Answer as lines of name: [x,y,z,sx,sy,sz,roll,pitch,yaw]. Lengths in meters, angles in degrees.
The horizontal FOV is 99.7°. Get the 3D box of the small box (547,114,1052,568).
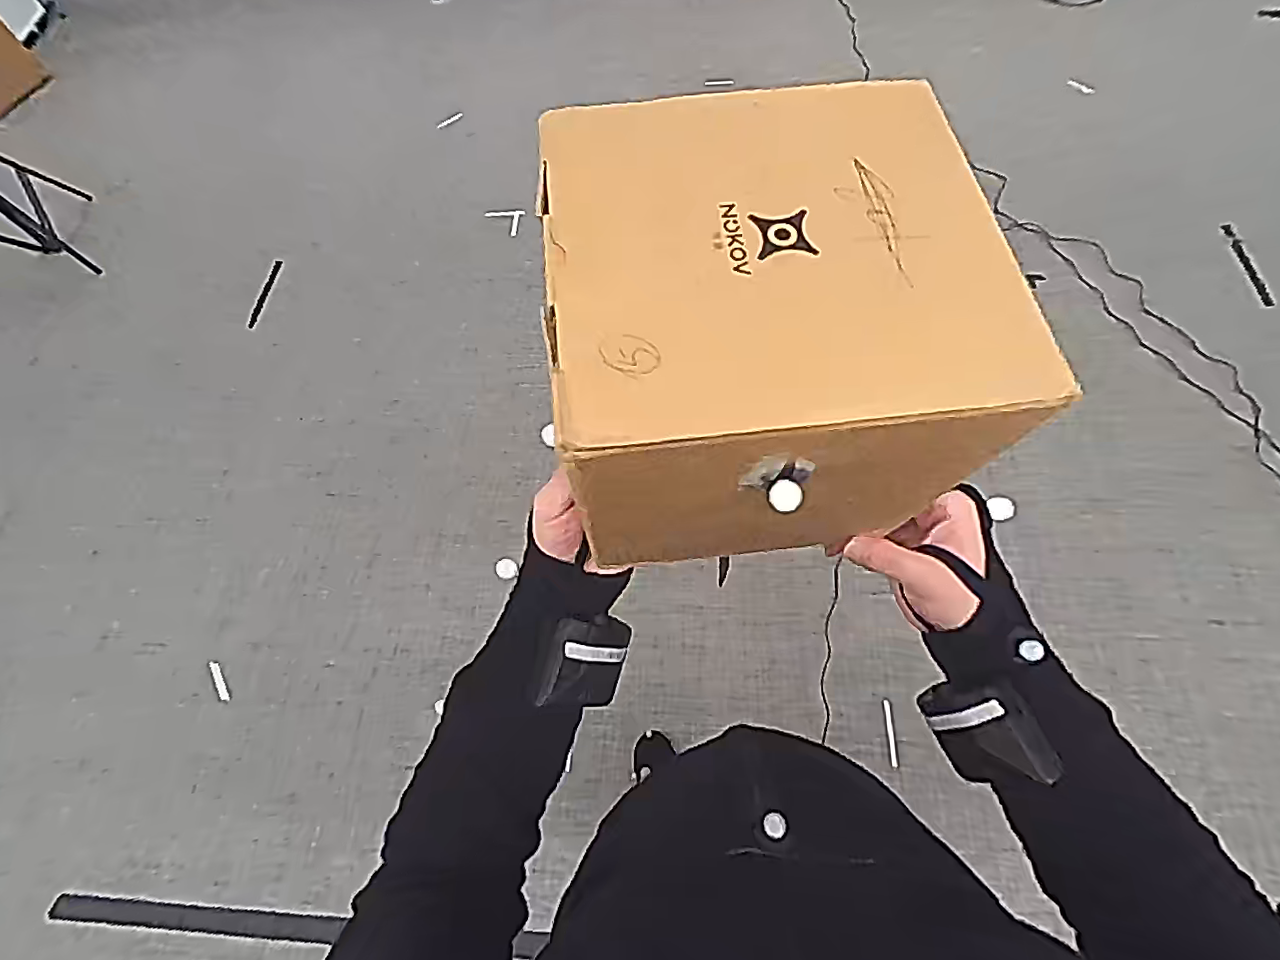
small box: [0.053,-0.056,0.292,0.179,0.176,0.168,-6,68,-3]
